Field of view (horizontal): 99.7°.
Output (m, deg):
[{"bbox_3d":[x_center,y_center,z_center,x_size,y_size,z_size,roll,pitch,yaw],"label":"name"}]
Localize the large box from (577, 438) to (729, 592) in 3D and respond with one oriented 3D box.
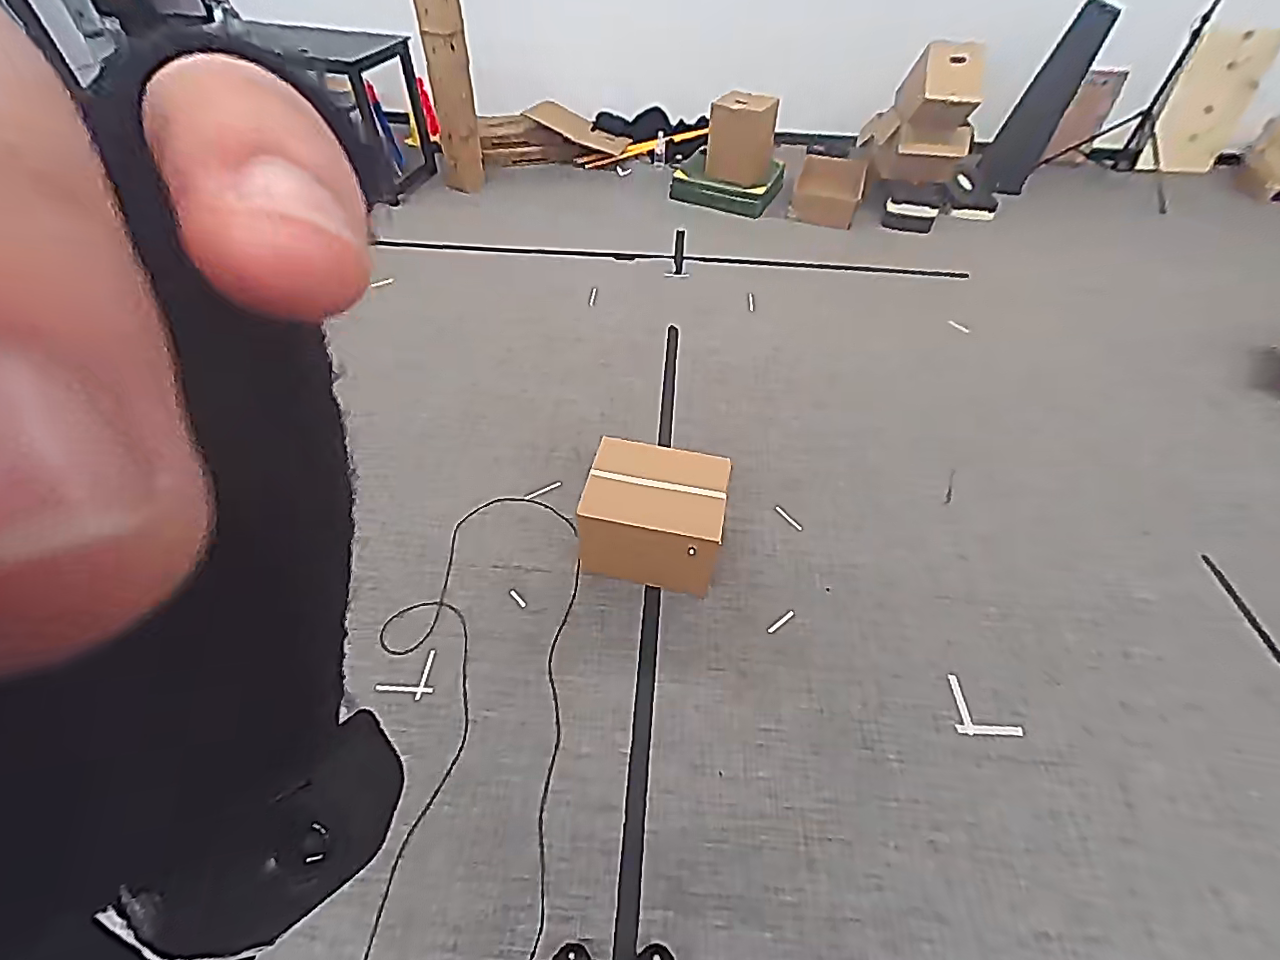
[{"bbox_3d":[0.044,0.111,1.670,0.408,0.320,0.320,11,50,5],"label":"large box"}]
